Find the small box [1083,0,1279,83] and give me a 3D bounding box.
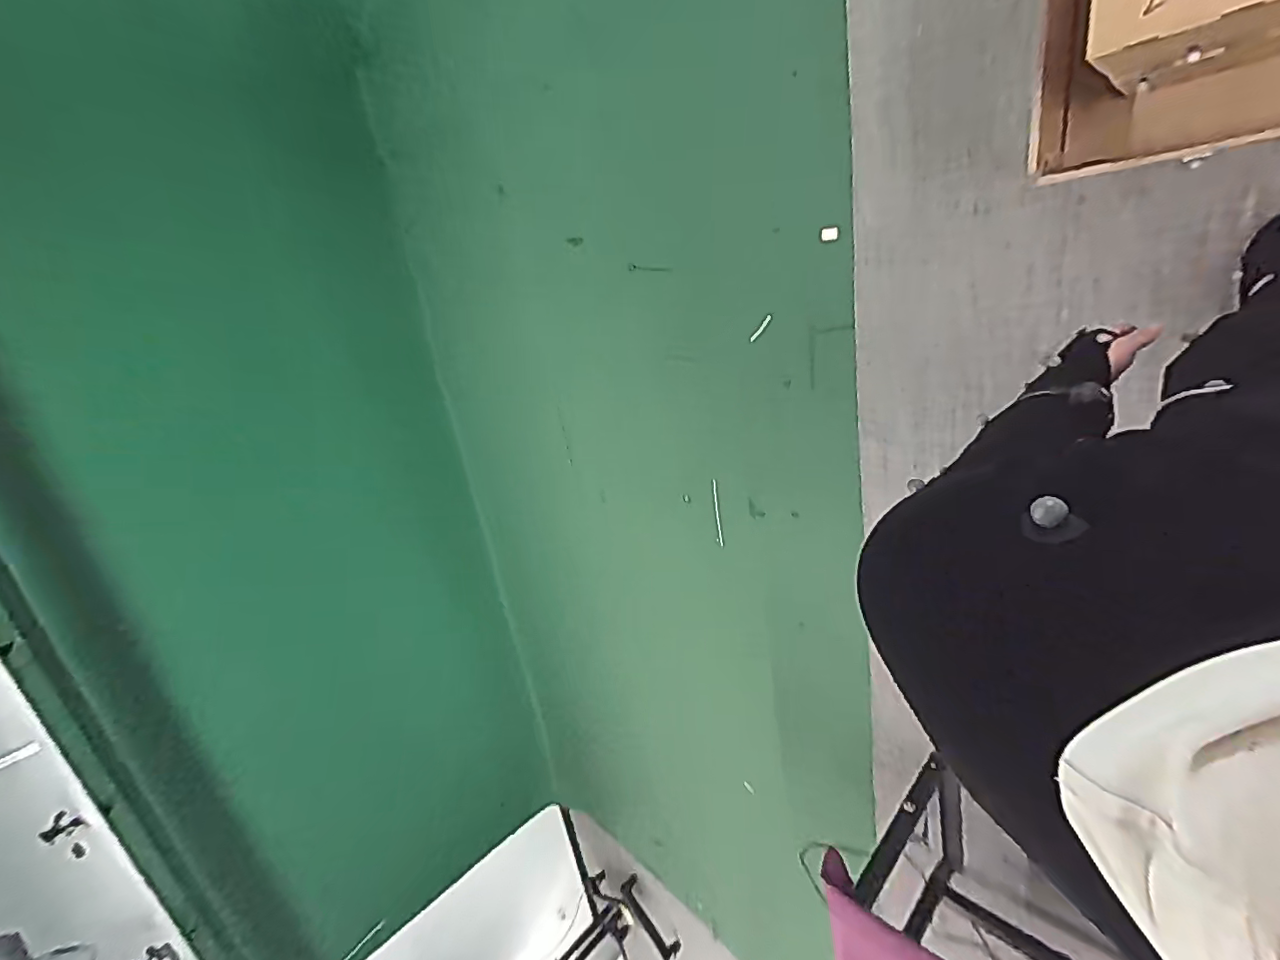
[{"bbox_3d":[0.597,-0.559,0.572,0.168,0.176,0.179,11,117,45],"label":"small box"}]
